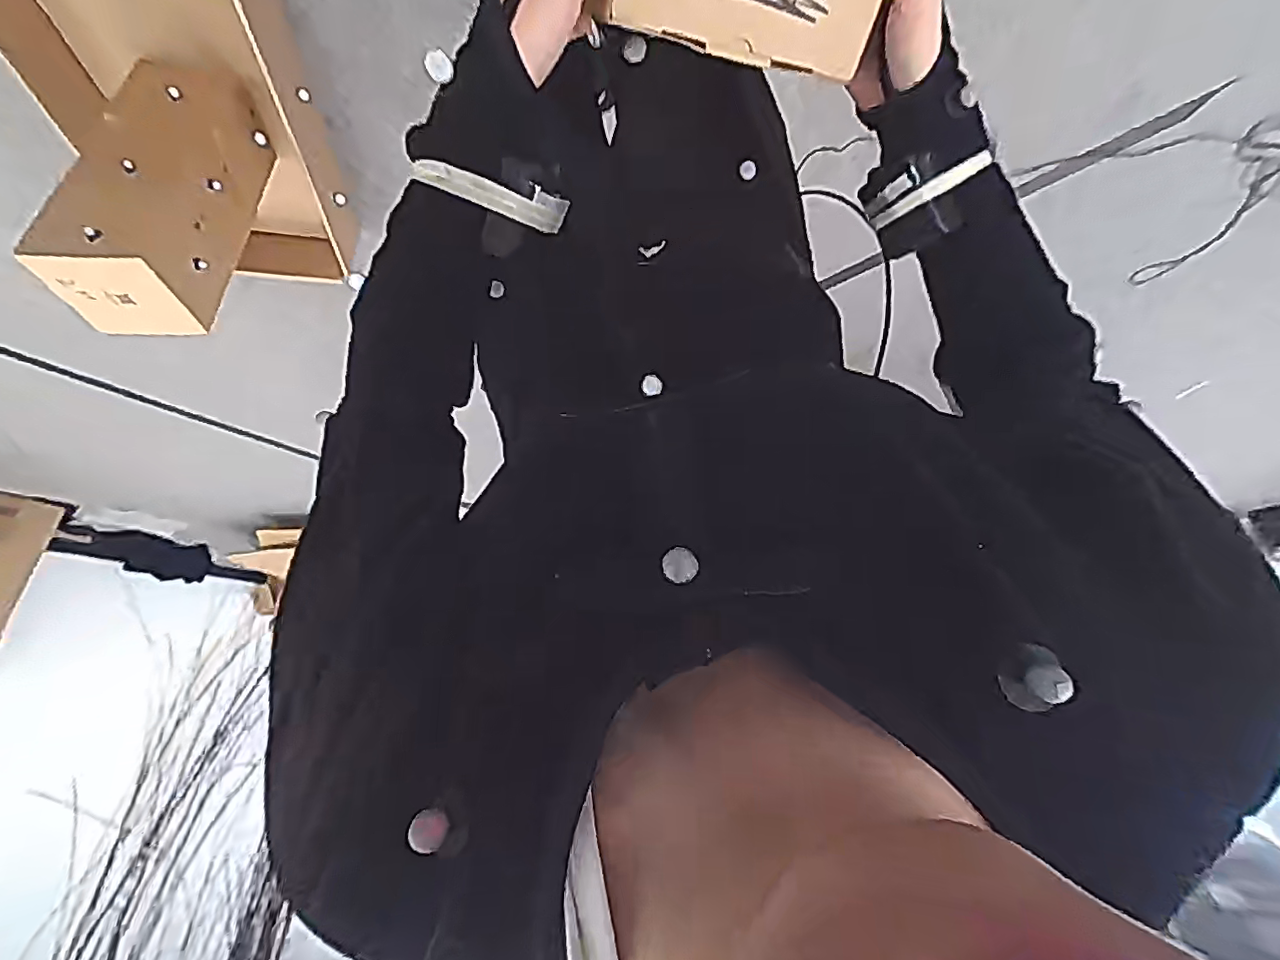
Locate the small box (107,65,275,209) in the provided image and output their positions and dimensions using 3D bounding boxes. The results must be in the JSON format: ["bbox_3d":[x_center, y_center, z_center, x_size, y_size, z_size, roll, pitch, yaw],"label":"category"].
[{"bbox_3d":[-0.845,-0.658,1.040,0.179,0.176,0.168,1,154,-10],"label":"small box"}]

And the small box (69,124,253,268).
[{"bbox_3d":[-0.840,-0.510,0.976,0.179,0.176,0.168,0,153,-5],"label":"small box"}]

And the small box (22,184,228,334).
[{"bbox_3d":[-0.827,-0.363,0.898,0.179,0.176,0.168,-1,153,-6],"label":"small box"}]
